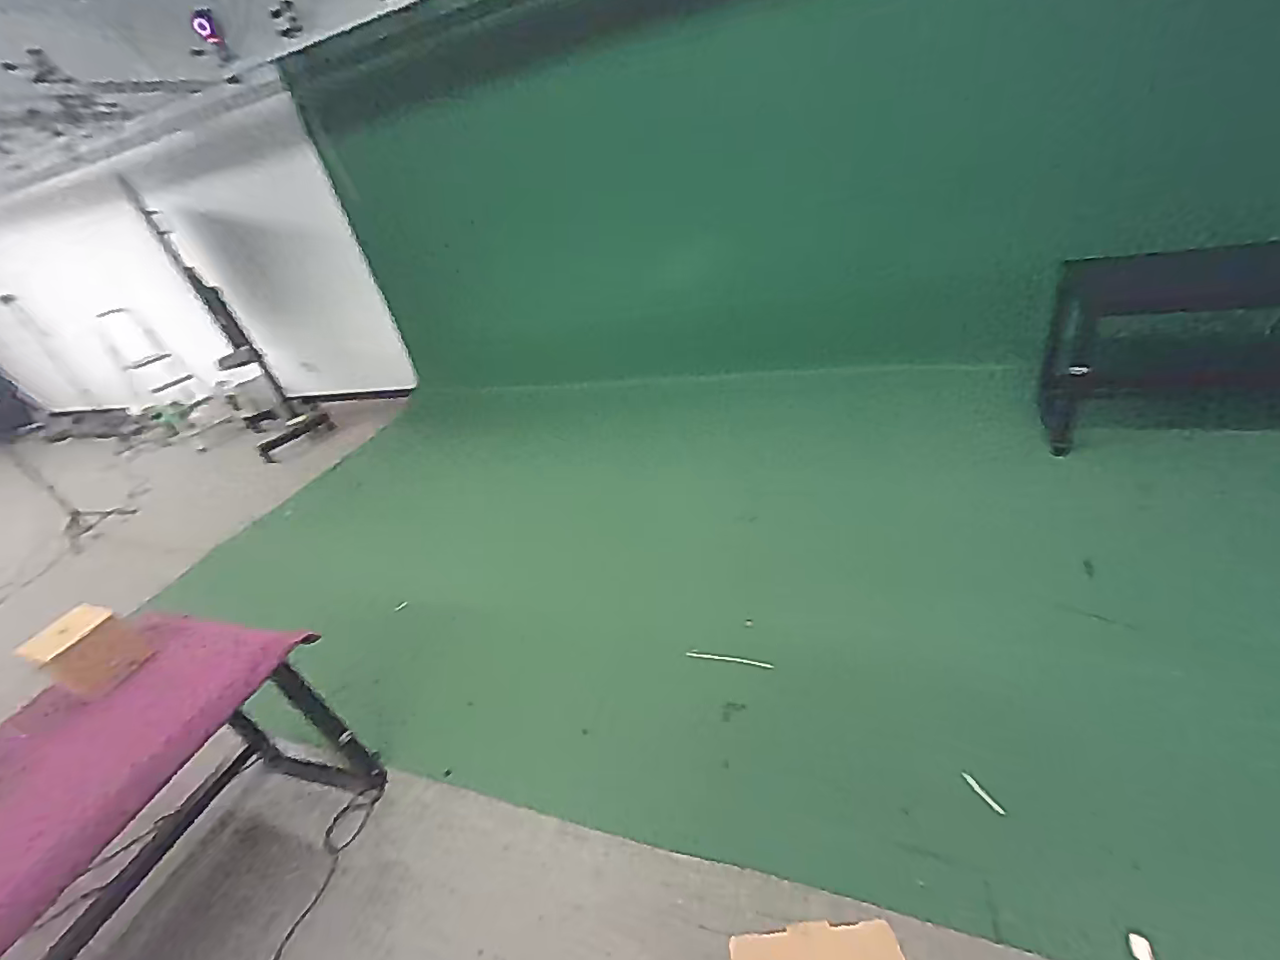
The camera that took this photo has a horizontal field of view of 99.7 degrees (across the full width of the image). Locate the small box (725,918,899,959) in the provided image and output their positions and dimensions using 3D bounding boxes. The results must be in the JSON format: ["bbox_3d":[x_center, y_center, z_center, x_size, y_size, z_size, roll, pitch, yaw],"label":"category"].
[{"bbox_3d":[0.174,0.556,0.497,0.168,0.176,0.179,-6,25,-1],"label":"small box"}]

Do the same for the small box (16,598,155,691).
[{"bbox_3d":[-1.491,0.445,1.464,0.179,0.176,0.168,3,39,22],"label":"small box"}]
